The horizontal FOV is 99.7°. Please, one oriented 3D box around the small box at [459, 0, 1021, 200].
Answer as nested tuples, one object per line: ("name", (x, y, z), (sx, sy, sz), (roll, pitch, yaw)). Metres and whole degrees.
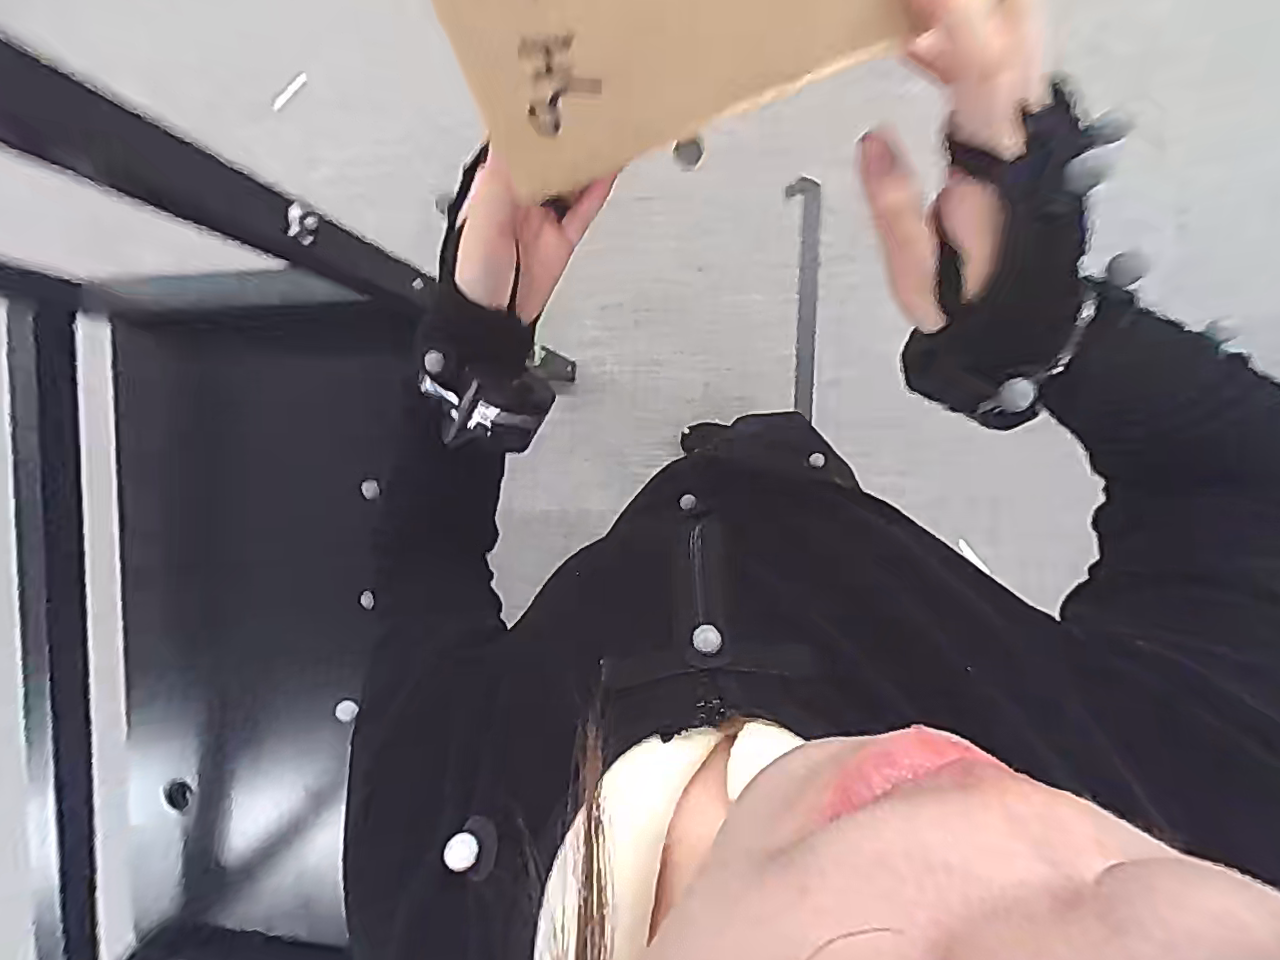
("small box", (0.009, -0.227, 0.210), (0.179, 0.176, 0.168), (-20, 119, 2))
